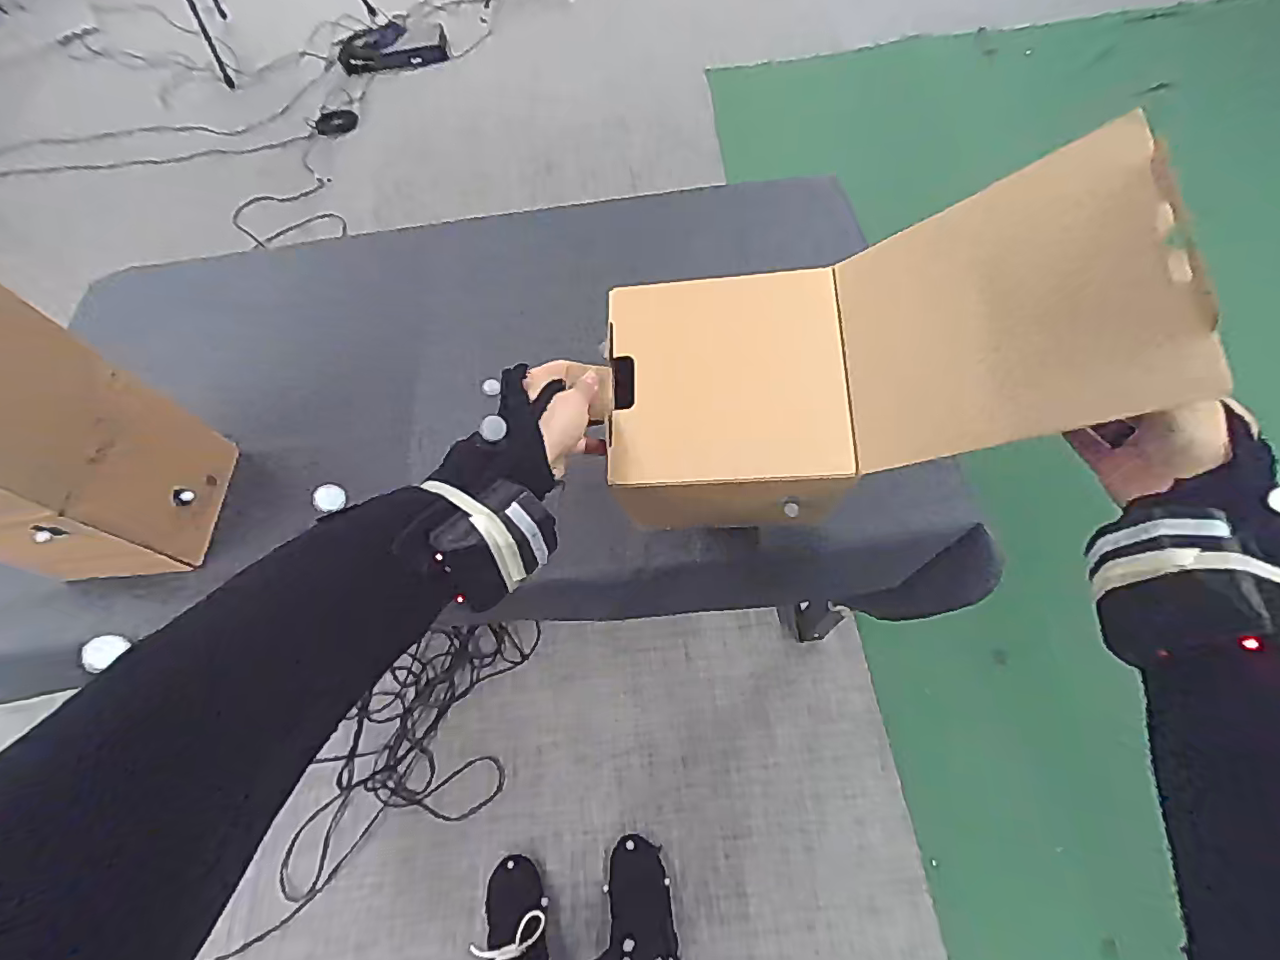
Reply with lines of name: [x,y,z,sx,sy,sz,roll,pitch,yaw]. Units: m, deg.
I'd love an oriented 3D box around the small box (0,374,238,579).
small box: [-0.611,0.005,0.603,0.179,0.176,0.168,-5,62,2]

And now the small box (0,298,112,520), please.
small box: [-0.618,-0.066,0.457,0.168,0.176,0.179,-9,61,-2]
